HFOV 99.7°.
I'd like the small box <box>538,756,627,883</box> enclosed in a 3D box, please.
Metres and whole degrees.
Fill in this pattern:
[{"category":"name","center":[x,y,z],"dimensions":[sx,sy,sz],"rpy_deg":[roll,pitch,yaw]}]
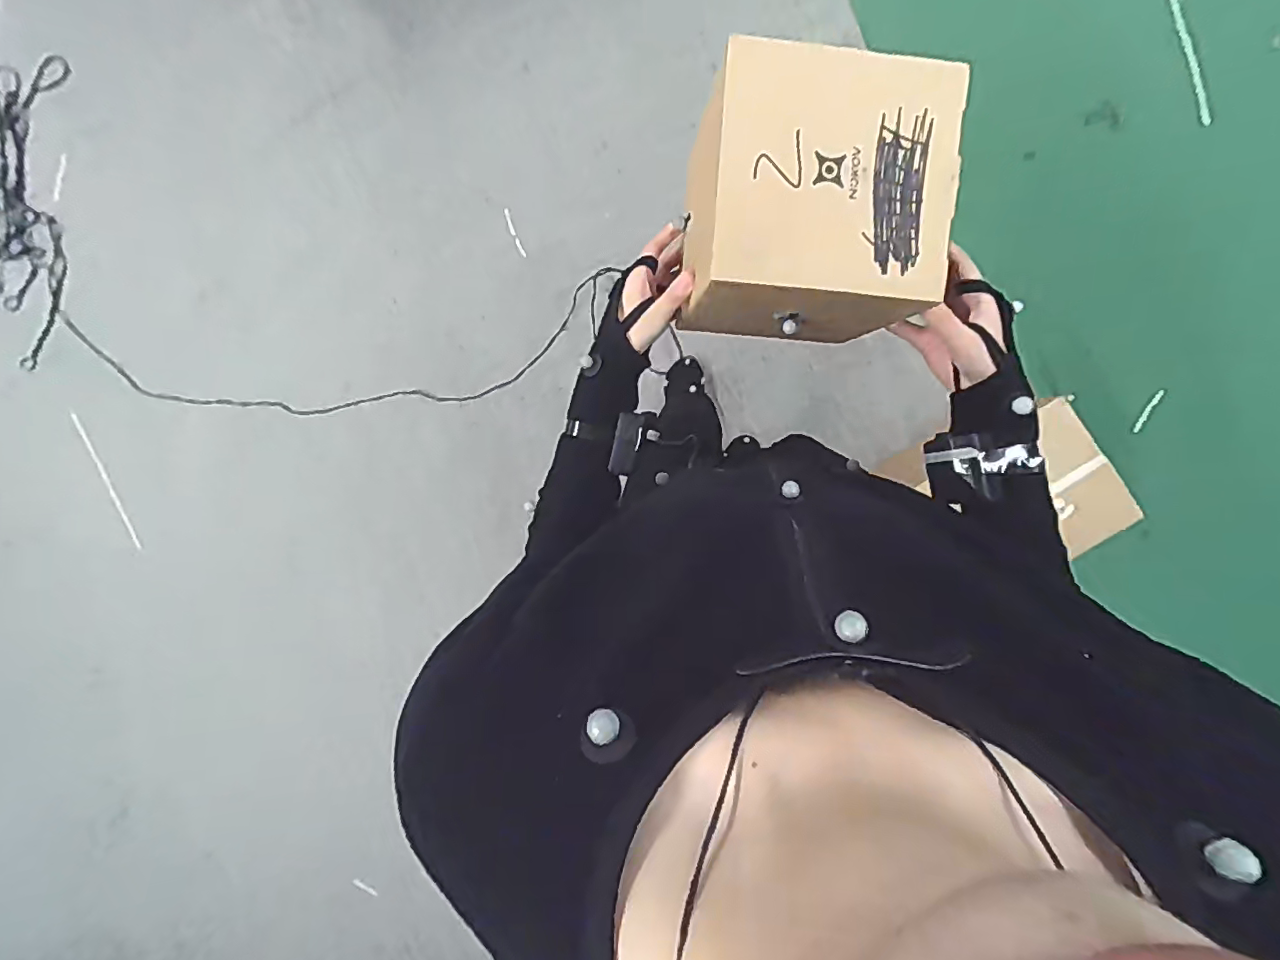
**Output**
[{"category":"small box","center":[-0.123,0.759,1.221],"dimensions":[0.168,0.176,0.179],"rpy_deg":[-2,97,6]}]

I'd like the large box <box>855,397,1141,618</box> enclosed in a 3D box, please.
[{"category":"large box","center":[0.804,0.052,1.285],"dimensions":[0.408,0.320,0.320],"rpy_deg":[-35,92,8]}]
